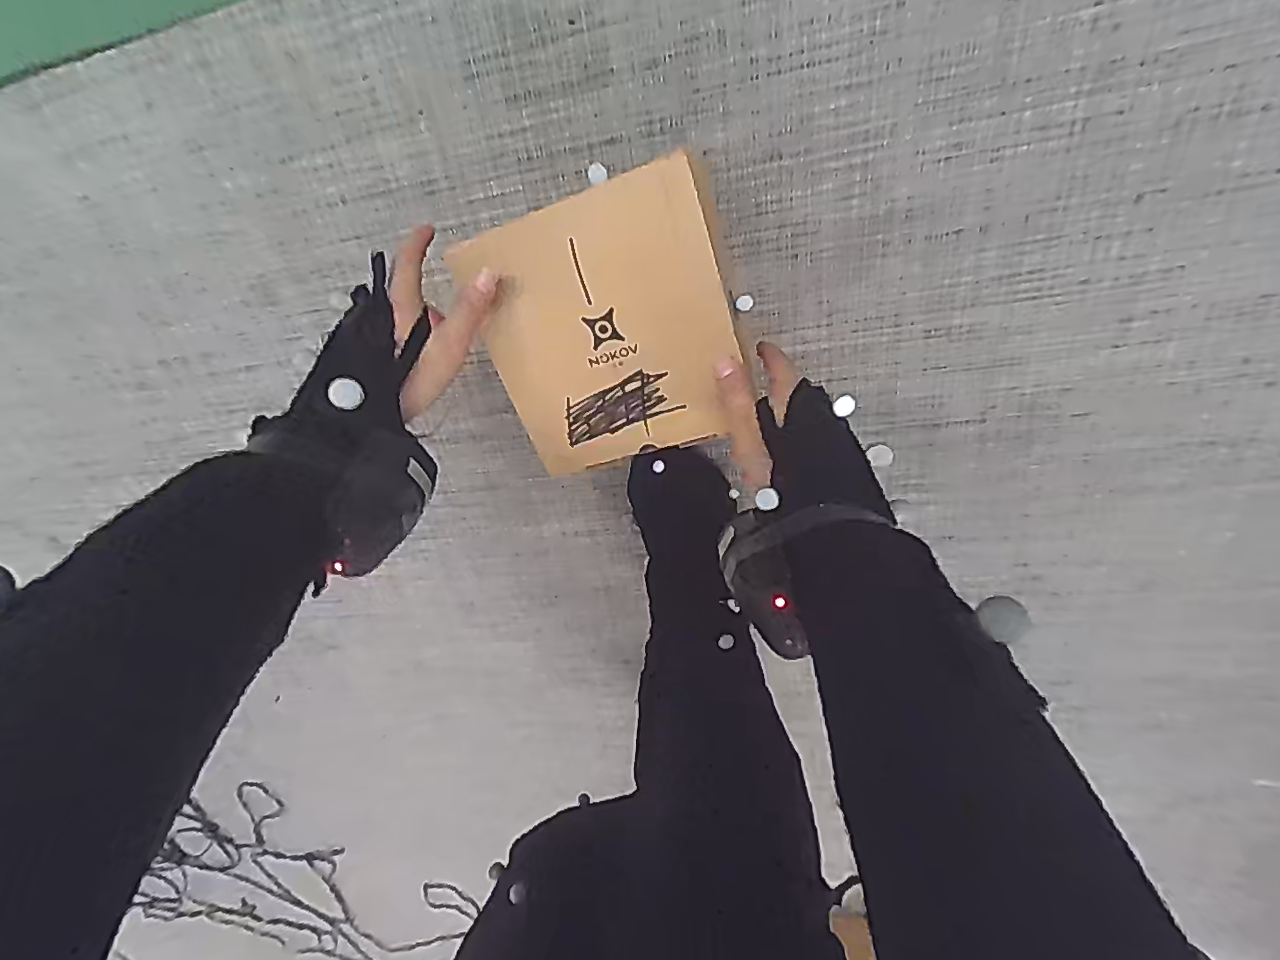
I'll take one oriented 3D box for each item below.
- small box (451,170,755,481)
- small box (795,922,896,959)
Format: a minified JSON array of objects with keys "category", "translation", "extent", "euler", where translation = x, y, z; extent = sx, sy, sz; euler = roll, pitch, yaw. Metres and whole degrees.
[{"category":"small box","translation":[-0.008,-0.127,0.432],"extent":[0.168,0.176,0.179],"euler":[-14,116,17]},{"category":"small box","translation":[0.396,0.958,1.007],"extent":[0.179,0.176,0.168],"euler":[-10,118,14]}]
